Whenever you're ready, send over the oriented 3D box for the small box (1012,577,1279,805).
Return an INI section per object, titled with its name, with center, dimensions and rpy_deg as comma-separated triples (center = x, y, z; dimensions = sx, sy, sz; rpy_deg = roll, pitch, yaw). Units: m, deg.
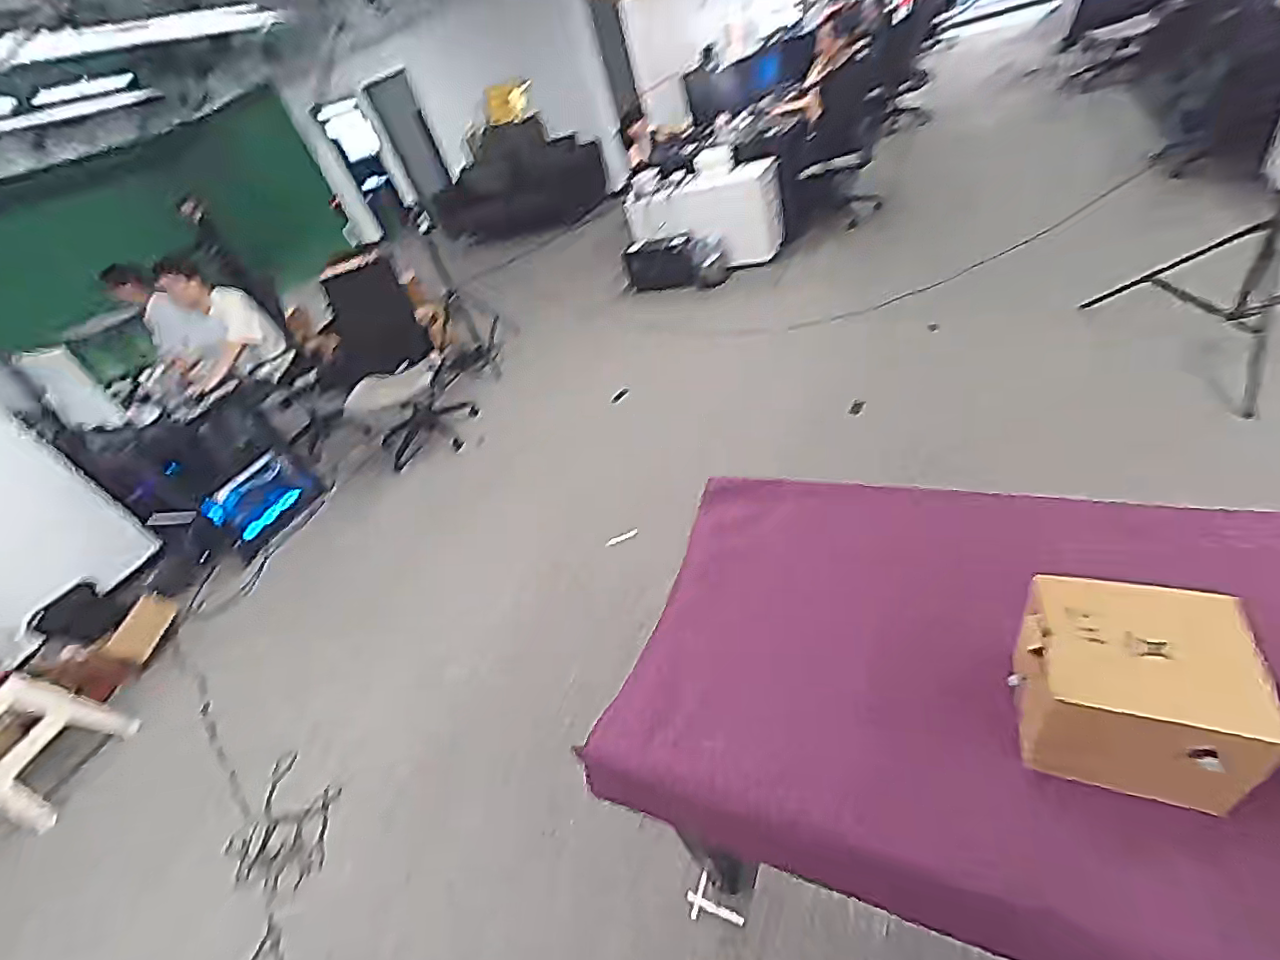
[small box]
center = 0.543, 0.235, 0.611
dimensions = 0.179, 0.176, 0.168
rpy_deg = 2, 42, 28
